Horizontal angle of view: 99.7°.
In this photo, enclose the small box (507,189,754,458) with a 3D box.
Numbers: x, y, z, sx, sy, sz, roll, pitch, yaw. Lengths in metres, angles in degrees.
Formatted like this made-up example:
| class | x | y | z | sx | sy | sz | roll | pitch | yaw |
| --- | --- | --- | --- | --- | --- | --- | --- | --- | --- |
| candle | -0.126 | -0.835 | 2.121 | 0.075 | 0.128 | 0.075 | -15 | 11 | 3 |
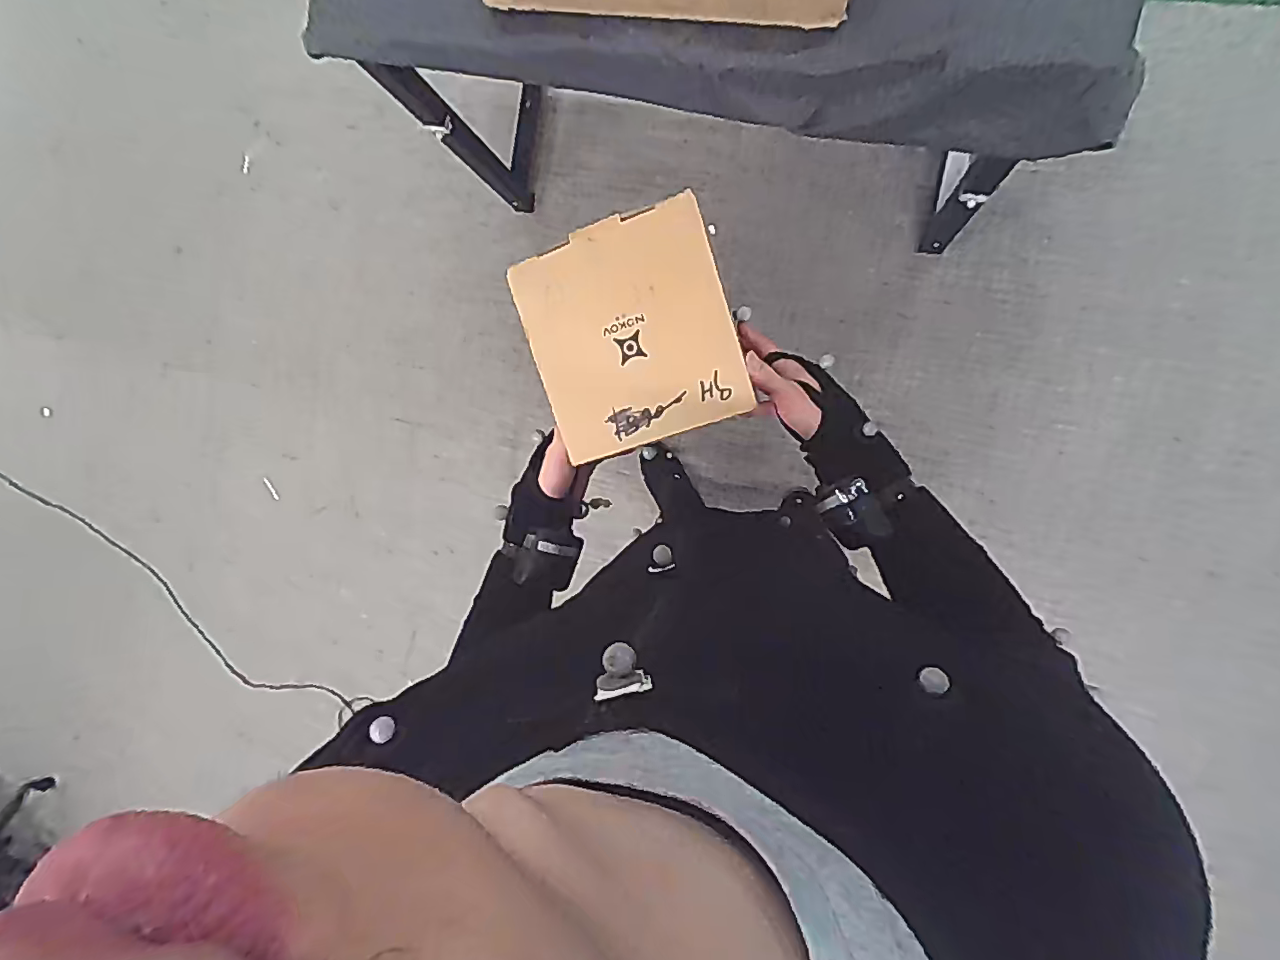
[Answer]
| class | x | y | z | sx | sy | sz | roll | pitch | yaw |
| --- | --- | --- | --- | --- | --- | --- | --- | --- | --- |
| small box | 0.006 | -0.134 | 0.514 | 0.168 | 0.176 | 0.179 | -16 | 97 | 16 |
